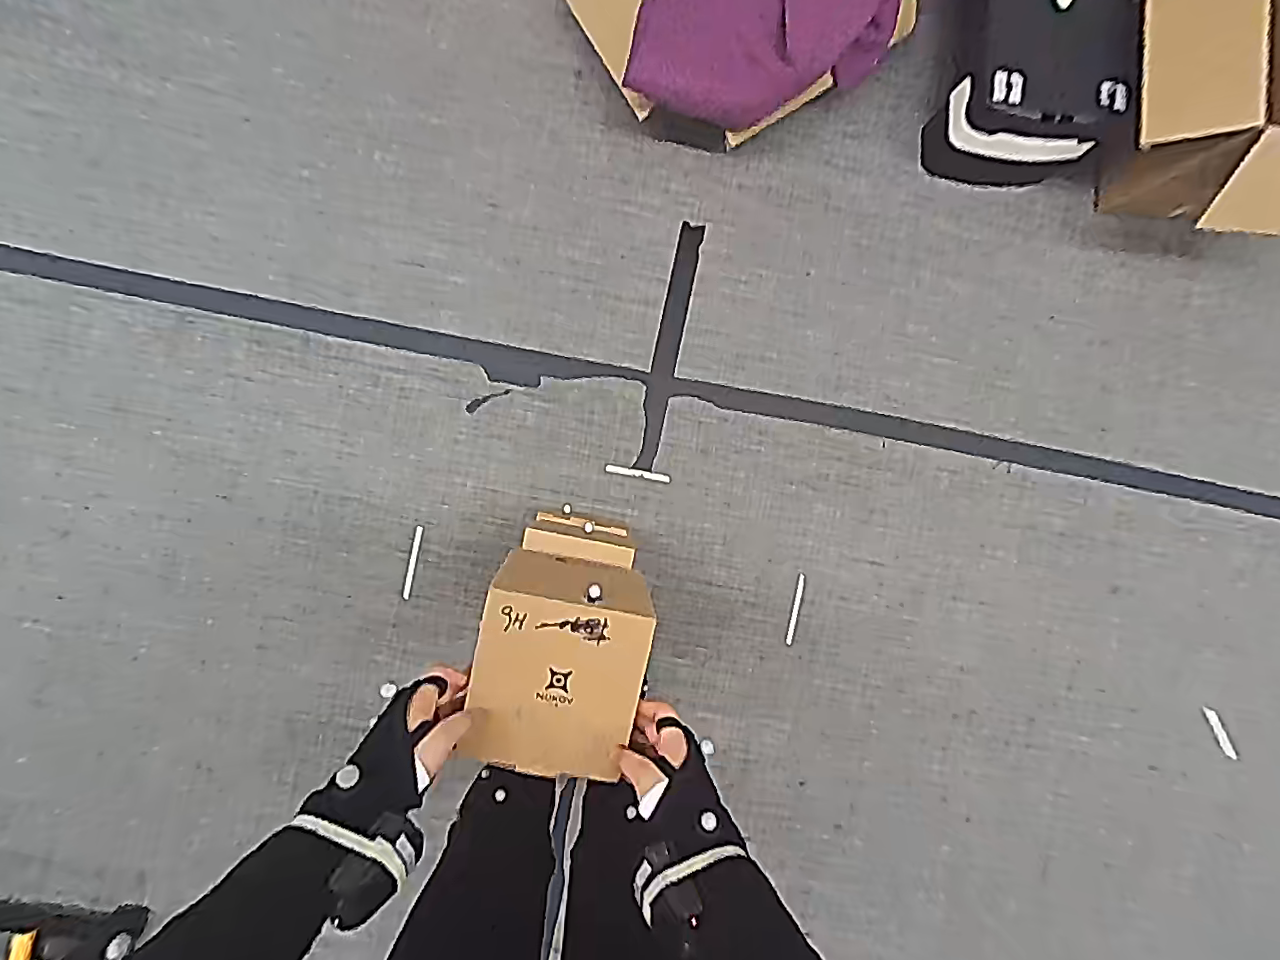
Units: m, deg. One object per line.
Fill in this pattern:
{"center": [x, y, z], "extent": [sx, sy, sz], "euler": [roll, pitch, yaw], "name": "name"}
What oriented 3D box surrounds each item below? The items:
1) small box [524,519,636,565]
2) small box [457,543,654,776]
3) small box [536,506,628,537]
{"center": [-0.107, 0.164, 0.872], "extent": [0.168, 0.176, 0.179], "euler": [12, 90, -2], "name": "small box"}
{"center": [-0.088, 0.187, 0.605], "extent": [0.168, 0.176, 0.179], "euler": [12, 96, -6], "name": "small box"}
{"center": [-0.123, 0.151, 1.037], "extent": [0.168, 0.176, 0.179], "euler": [11, 92, -3], "name": "small box"}
